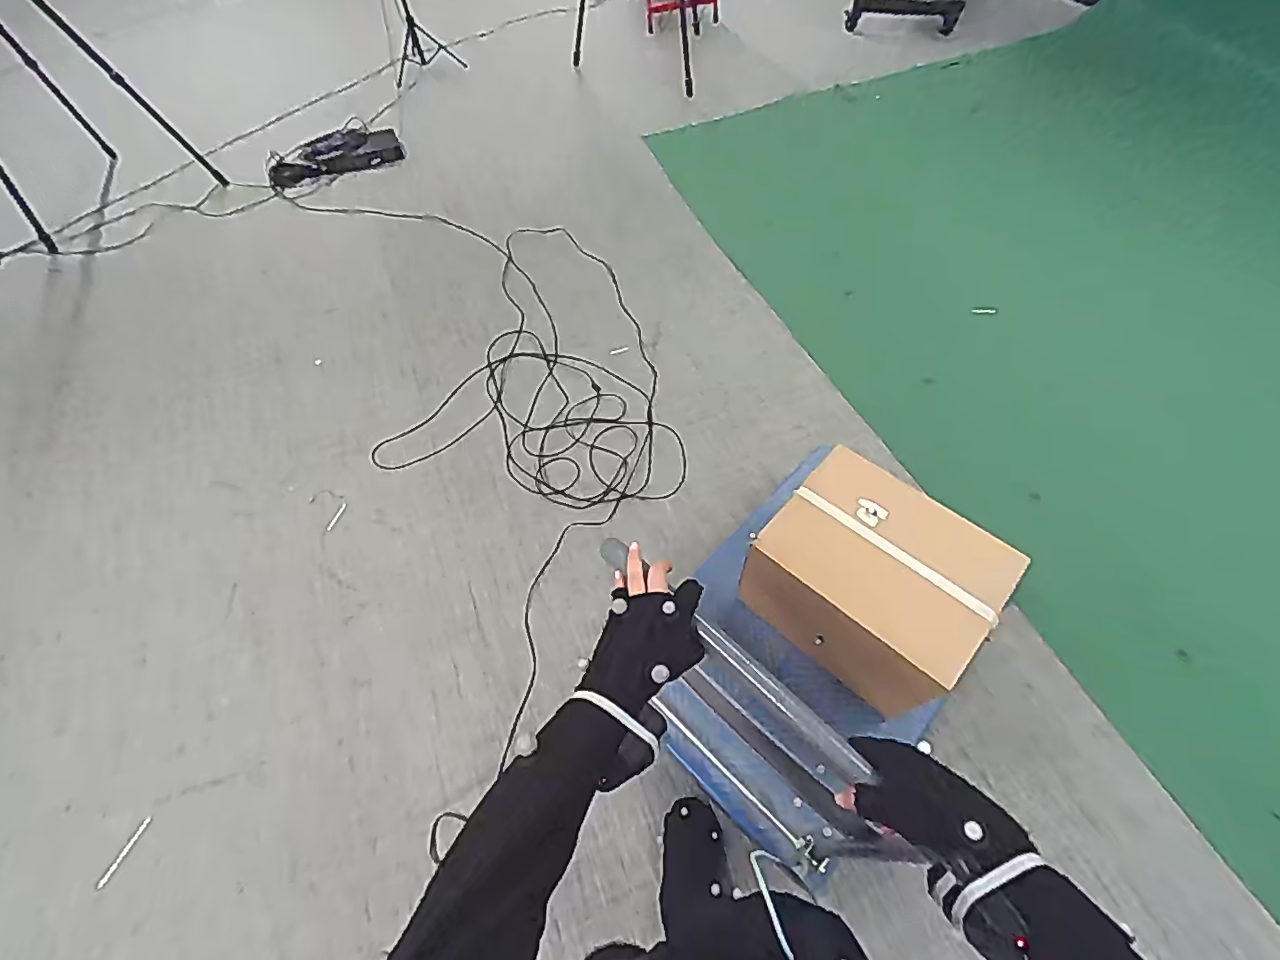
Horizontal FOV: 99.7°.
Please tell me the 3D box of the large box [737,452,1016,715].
[{"bbox_3d":[0.465,0.222,1.151,0.408,0.320,0.320,37,66,24],"label":"large box"}]
